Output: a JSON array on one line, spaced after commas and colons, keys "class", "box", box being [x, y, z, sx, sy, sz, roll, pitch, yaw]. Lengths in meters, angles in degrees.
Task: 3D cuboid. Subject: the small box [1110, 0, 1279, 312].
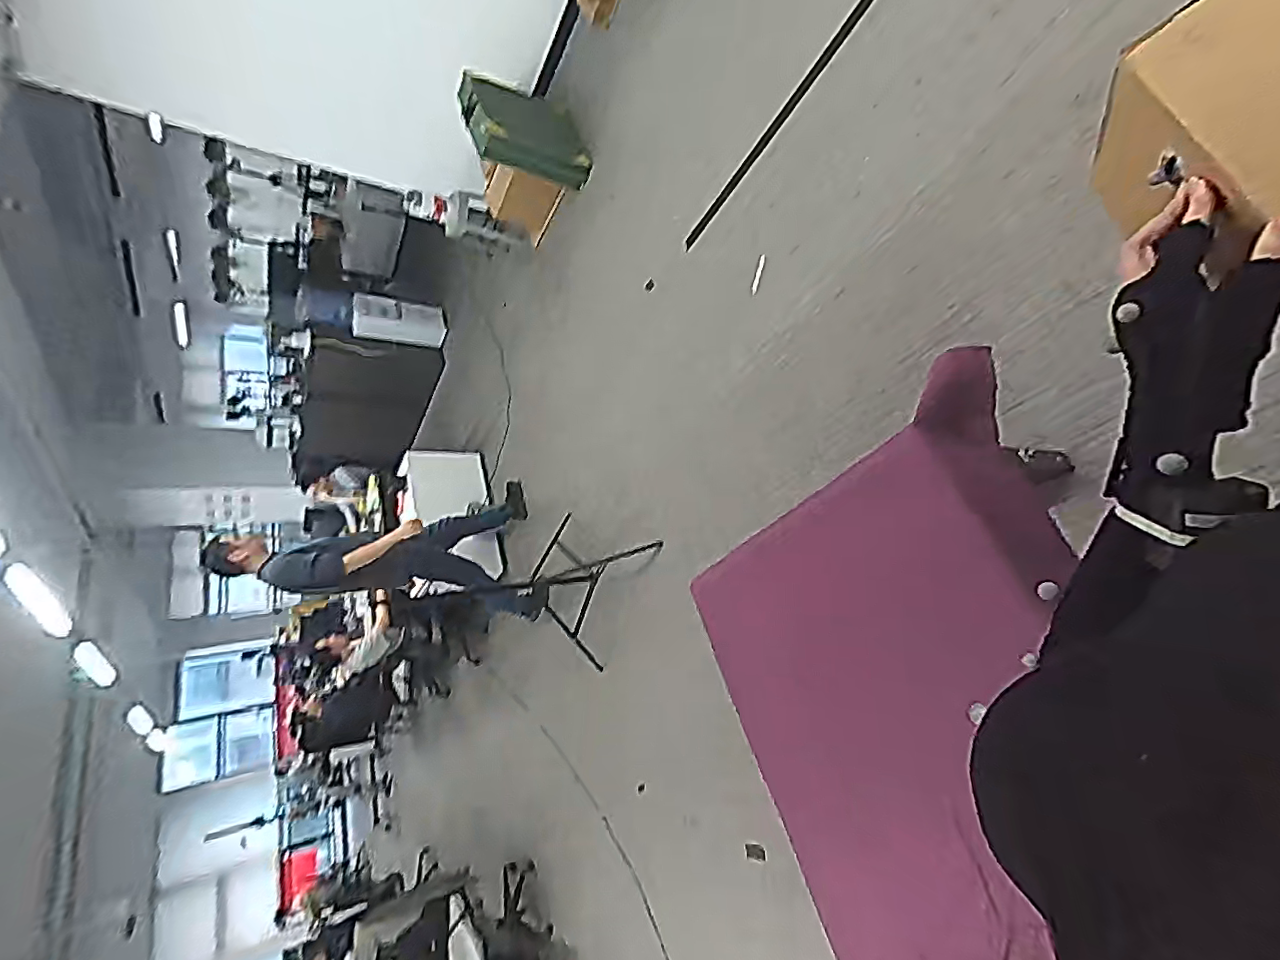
[{"class": "small box", "box": [0.460, -0.248, 0.363, 0.168, 0.176, 0.179, -27, 68, 30]}]
